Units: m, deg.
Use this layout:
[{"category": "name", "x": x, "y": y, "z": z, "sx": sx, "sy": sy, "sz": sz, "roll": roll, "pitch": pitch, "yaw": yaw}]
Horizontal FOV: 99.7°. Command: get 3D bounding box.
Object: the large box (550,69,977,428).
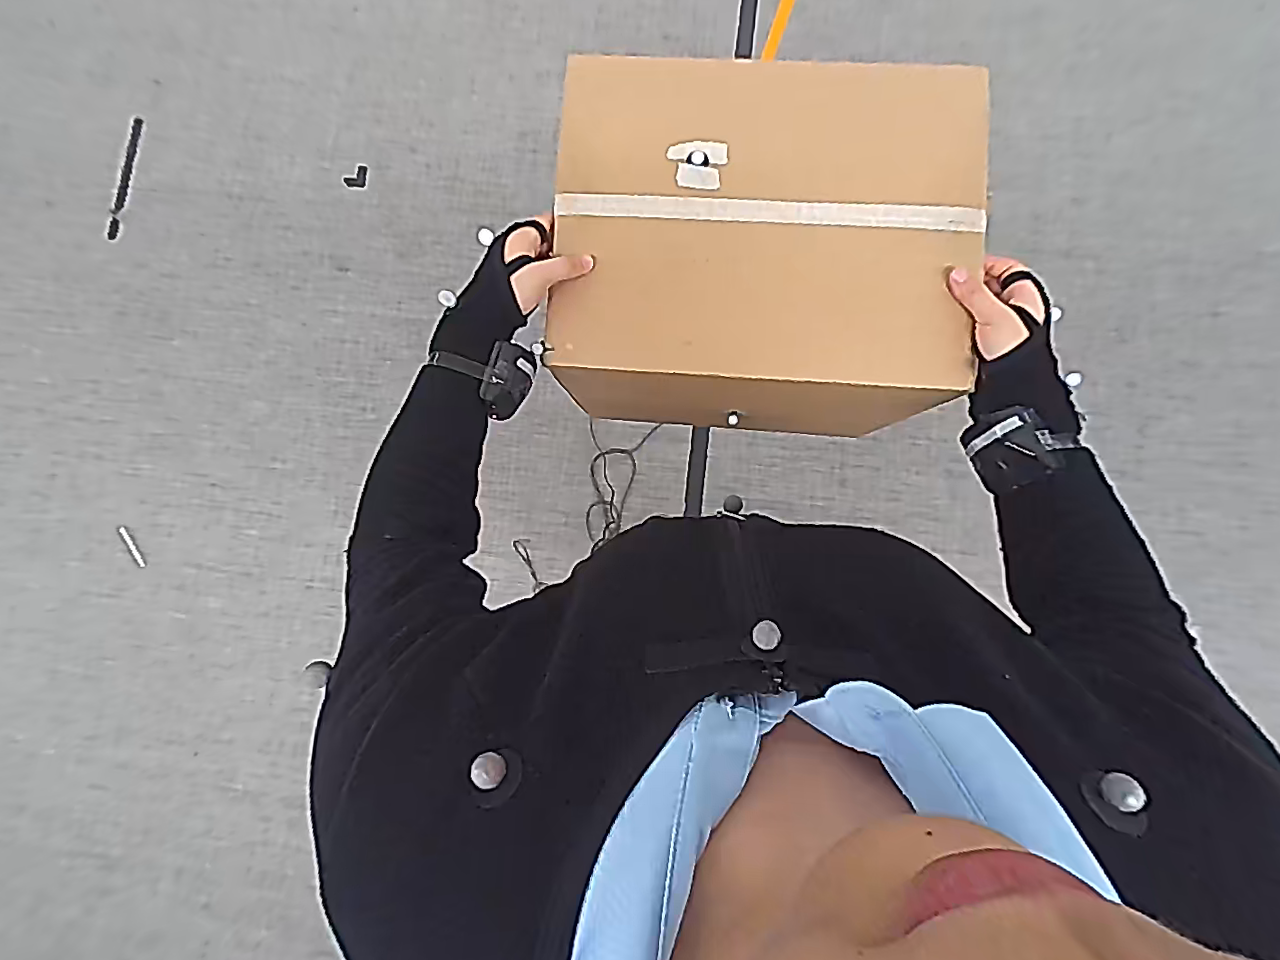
[{"category": "large box", "x": 0.131, "y": -0.244, "z": 0.673, "sx": 0.408, "sy": 0.320, "sz": 0.320, "roll": 4, "pitch": 86, "yaw": 5}]
